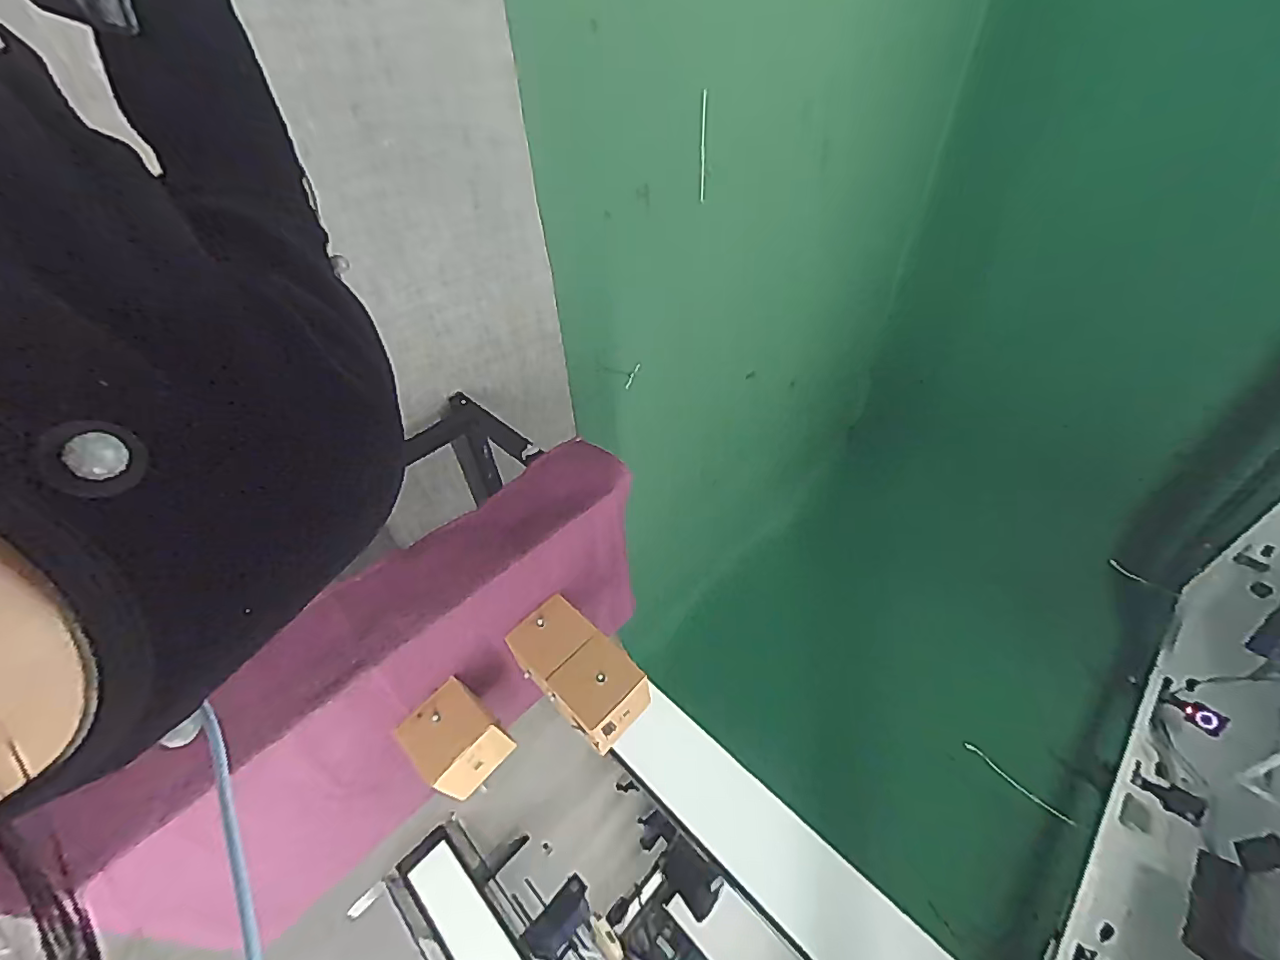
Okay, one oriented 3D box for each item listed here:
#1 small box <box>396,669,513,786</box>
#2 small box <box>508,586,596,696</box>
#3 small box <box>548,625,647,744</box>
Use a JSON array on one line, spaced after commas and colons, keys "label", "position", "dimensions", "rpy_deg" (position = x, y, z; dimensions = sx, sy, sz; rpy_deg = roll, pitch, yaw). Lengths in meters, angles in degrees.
[{"label": "small box", "position": [-0.435, 0.581, 1.278], "dimensions": [0.168, 0.176, 0.179], "rpy_deg": [-42, 145, -22]}, {"label": "small box", "position": [-0.222, 0.415, 1.408], "dimensions": [0.179, 0.176, 0.168], "rpy_deg": [-38, 145, -26]}, {"label": "small box", "position": [-0.107, 0.495, 1.321], "dimensions": [0.179, 0.176, 0.168], "rpy_deg": [-39, 145, -26]}]
